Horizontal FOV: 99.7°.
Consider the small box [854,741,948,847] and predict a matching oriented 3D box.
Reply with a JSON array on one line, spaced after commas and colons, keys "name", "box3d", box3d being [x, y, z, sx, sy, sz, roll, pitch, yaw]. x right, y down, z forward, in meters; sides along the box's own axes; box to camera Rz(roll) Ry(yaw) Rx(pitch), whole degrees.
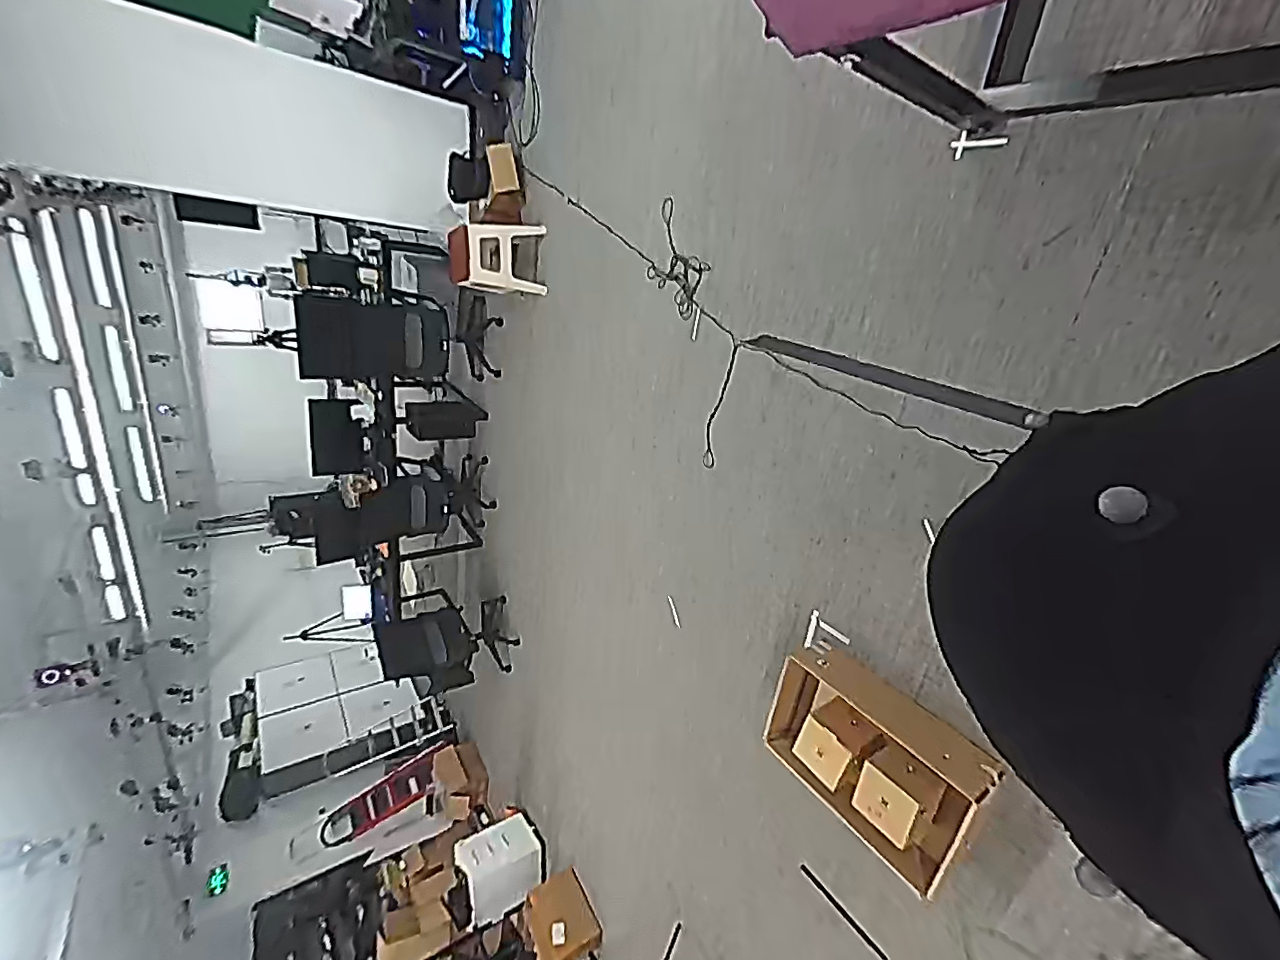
[{"name": "small box", "box3d": [0.757, 0.899, 1.565, 0.168, 0.176, 0.179, 32, 122, 49]}]

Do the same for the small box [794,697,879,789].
[{"name": "small box", "box3d": [0.633, 0.836, 1.733, 0.168, 0.176, 0.179, 39, 126, 44]}]
